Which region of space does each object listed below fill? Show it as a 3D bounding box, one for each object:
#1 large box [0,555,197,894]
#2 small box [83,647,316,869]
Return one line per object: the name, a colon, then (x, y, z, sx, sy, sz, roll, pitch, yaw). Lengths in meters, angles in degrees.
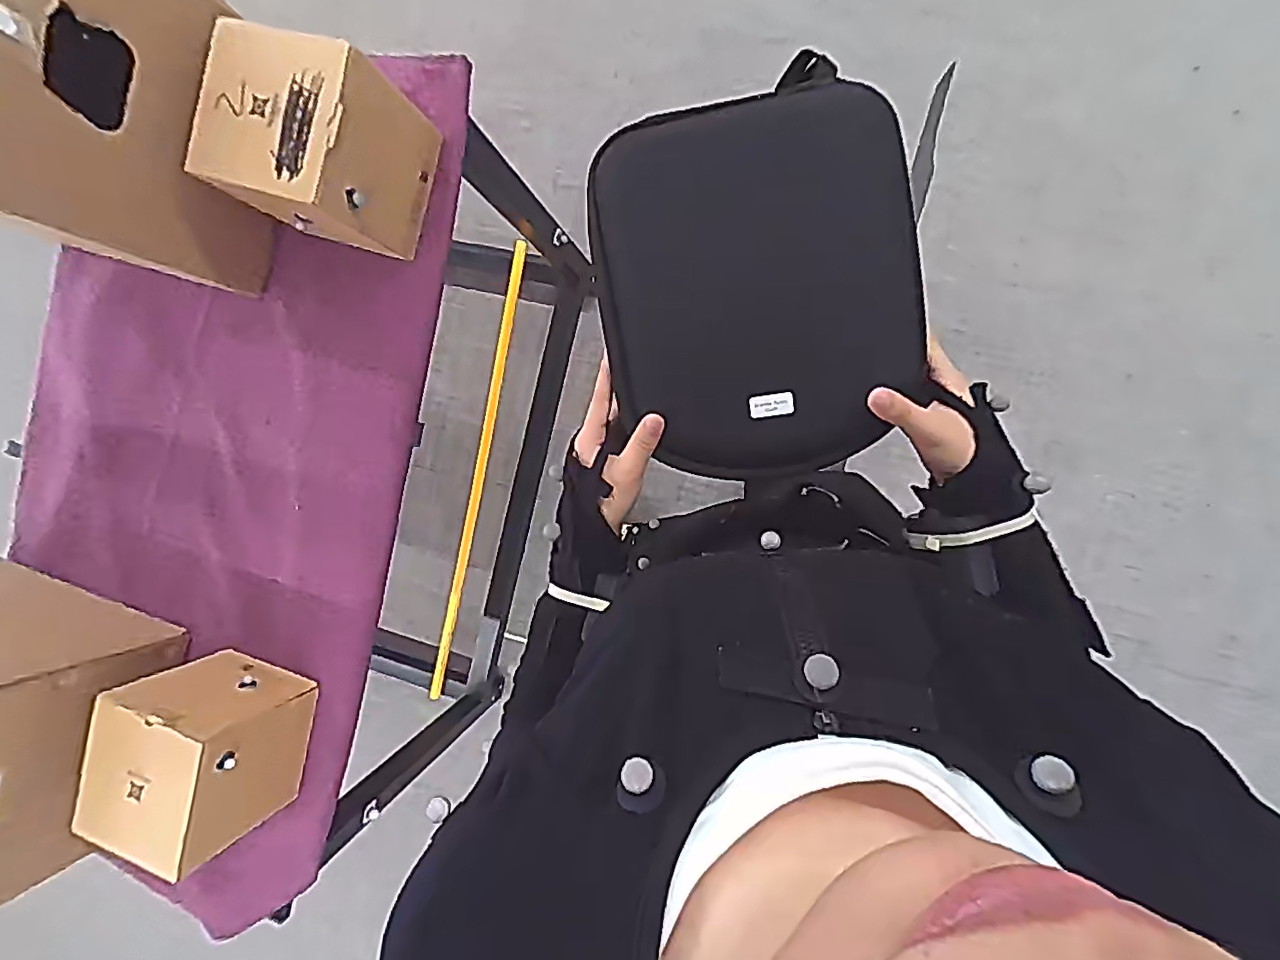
large box: (-0.923, 0.311, 0.716, 0.408, 0.320, 0.320, 15, 94, 8)
small box: (-0.569, 0.350, 0.717, 0.168, 0.176, 0.179, 14, 94, 12)
